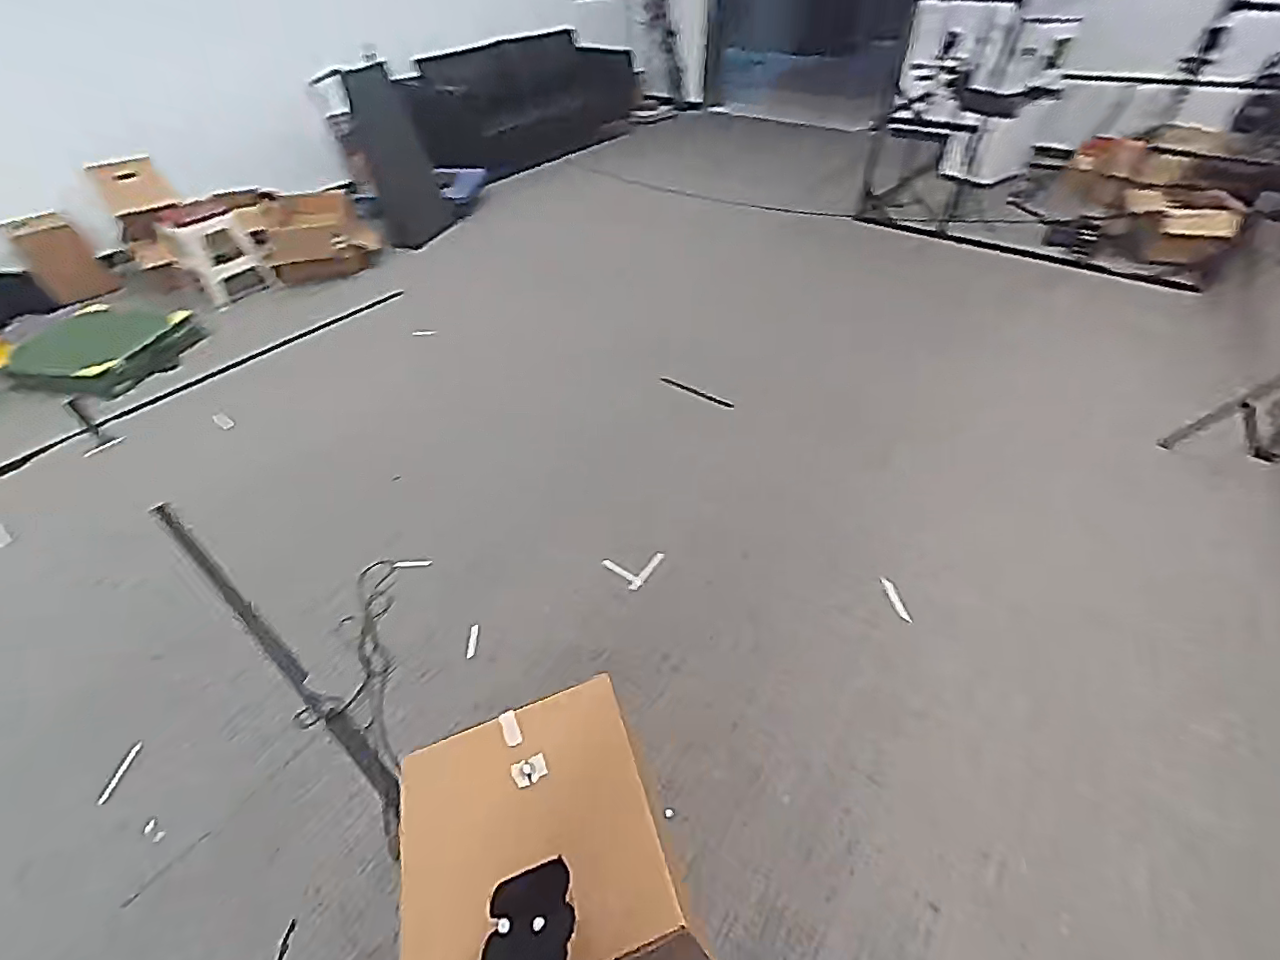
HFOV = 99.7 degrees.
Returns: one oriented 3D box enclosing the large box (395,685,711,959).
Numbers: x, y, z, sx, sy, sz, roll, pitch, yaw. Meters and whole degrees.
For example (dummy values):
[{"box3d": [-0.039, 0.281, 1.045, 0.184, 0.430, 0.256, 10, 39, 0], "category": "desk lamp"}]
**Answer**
[{"box3d": [-0.119, 0.578, 0.805, 0.320, 0.408, 0.320, -21, 43, -7], "category": "large box"}]
